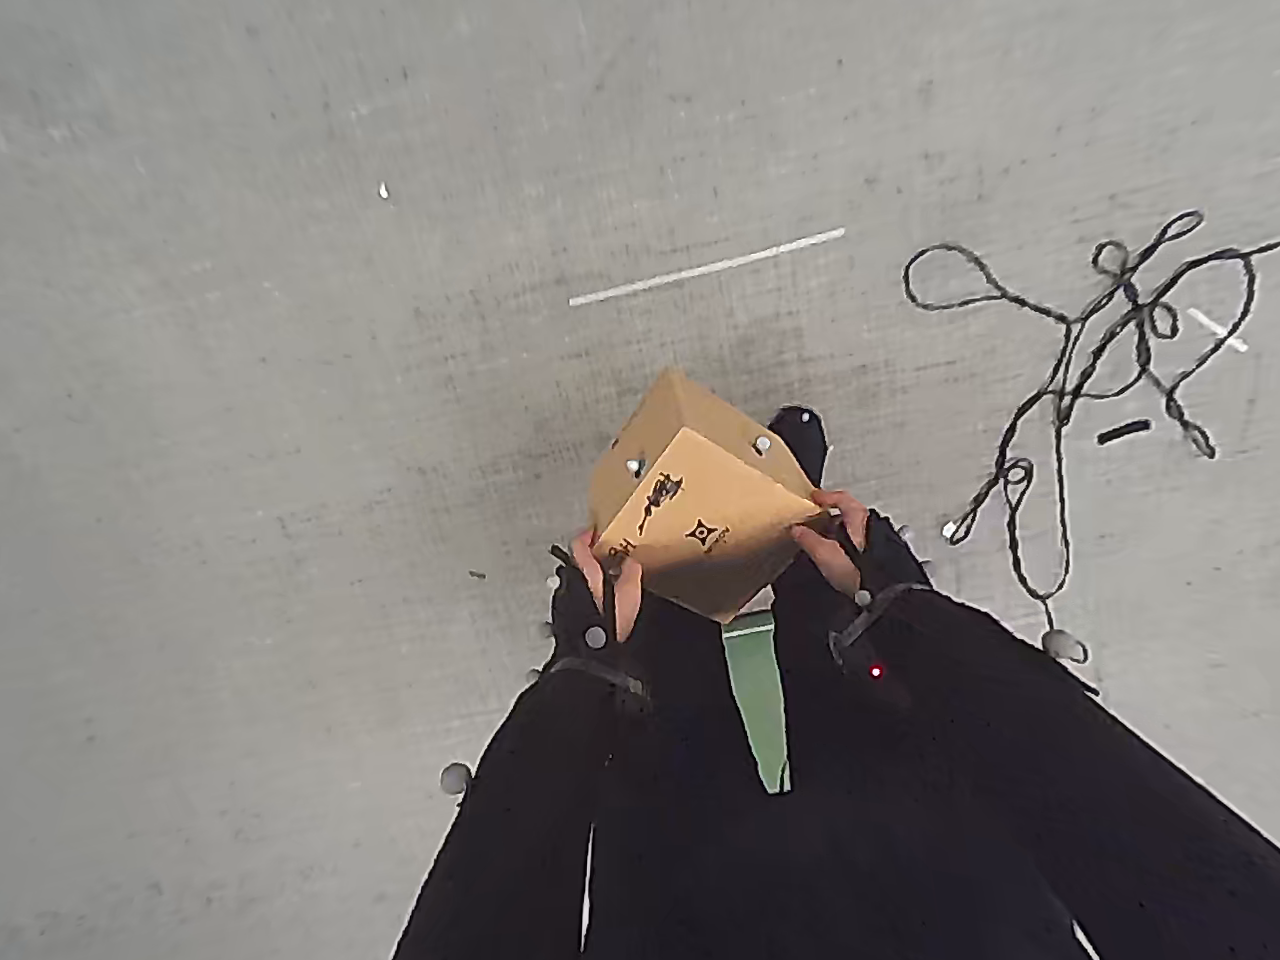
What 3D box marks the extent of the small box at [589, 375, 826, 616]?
[{"bbox_3d":[0.061,0.010,0.593,0.179,0.176,0.168,29,113,-18],"label":"small box"}]
